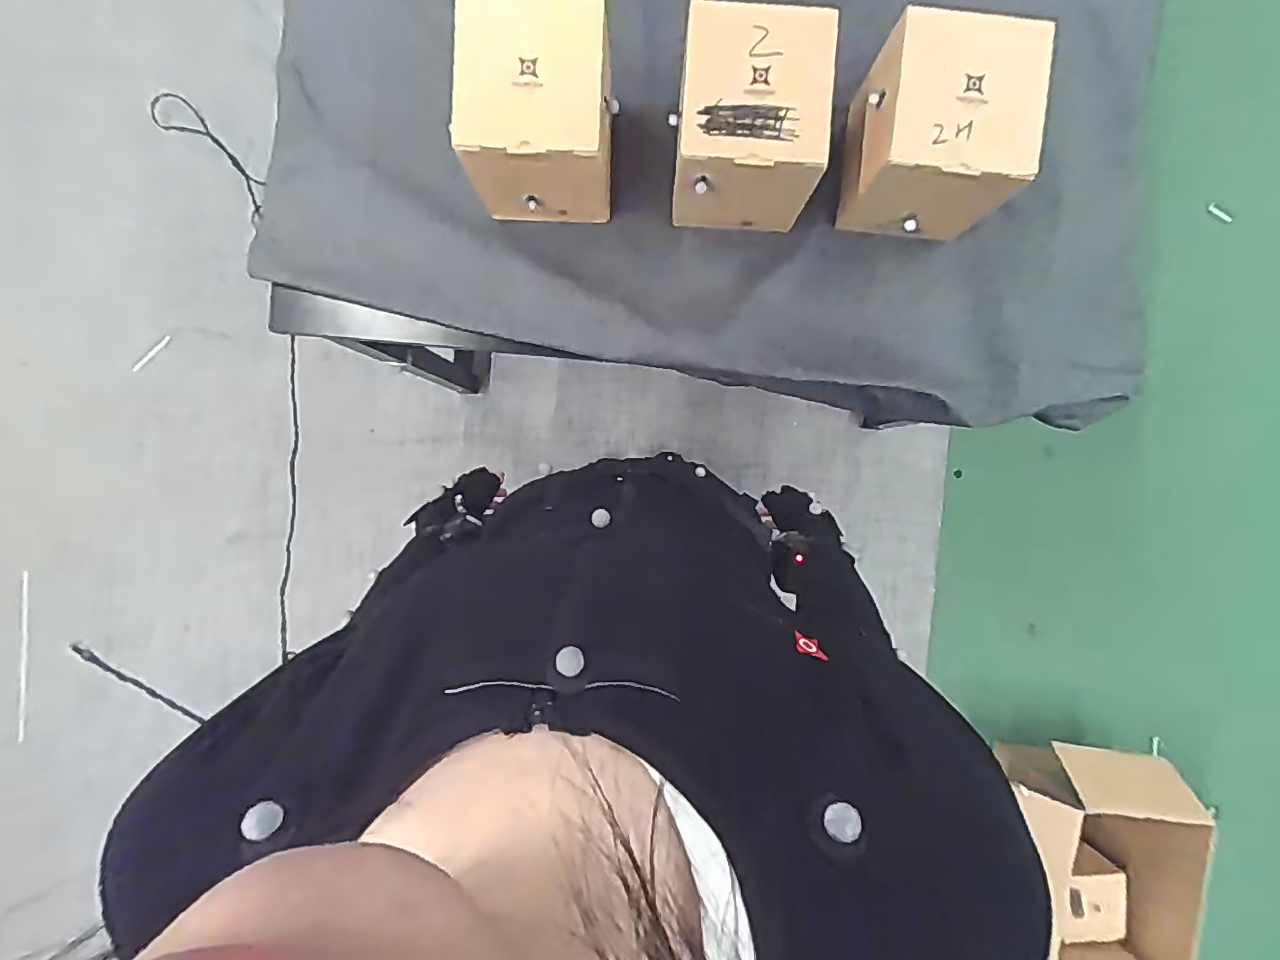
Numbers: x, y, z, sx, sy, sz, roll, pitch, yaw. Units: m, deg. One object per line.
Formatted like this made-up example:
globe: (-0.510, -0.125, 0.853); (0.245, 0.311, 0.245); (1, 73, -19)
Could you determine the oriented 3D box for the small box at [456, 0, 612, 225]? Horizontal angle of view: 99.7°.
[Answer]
small box: (-0.124, -0.453, 0.688); (0.168, 0.176, 0.179); (2, 91, -1)
